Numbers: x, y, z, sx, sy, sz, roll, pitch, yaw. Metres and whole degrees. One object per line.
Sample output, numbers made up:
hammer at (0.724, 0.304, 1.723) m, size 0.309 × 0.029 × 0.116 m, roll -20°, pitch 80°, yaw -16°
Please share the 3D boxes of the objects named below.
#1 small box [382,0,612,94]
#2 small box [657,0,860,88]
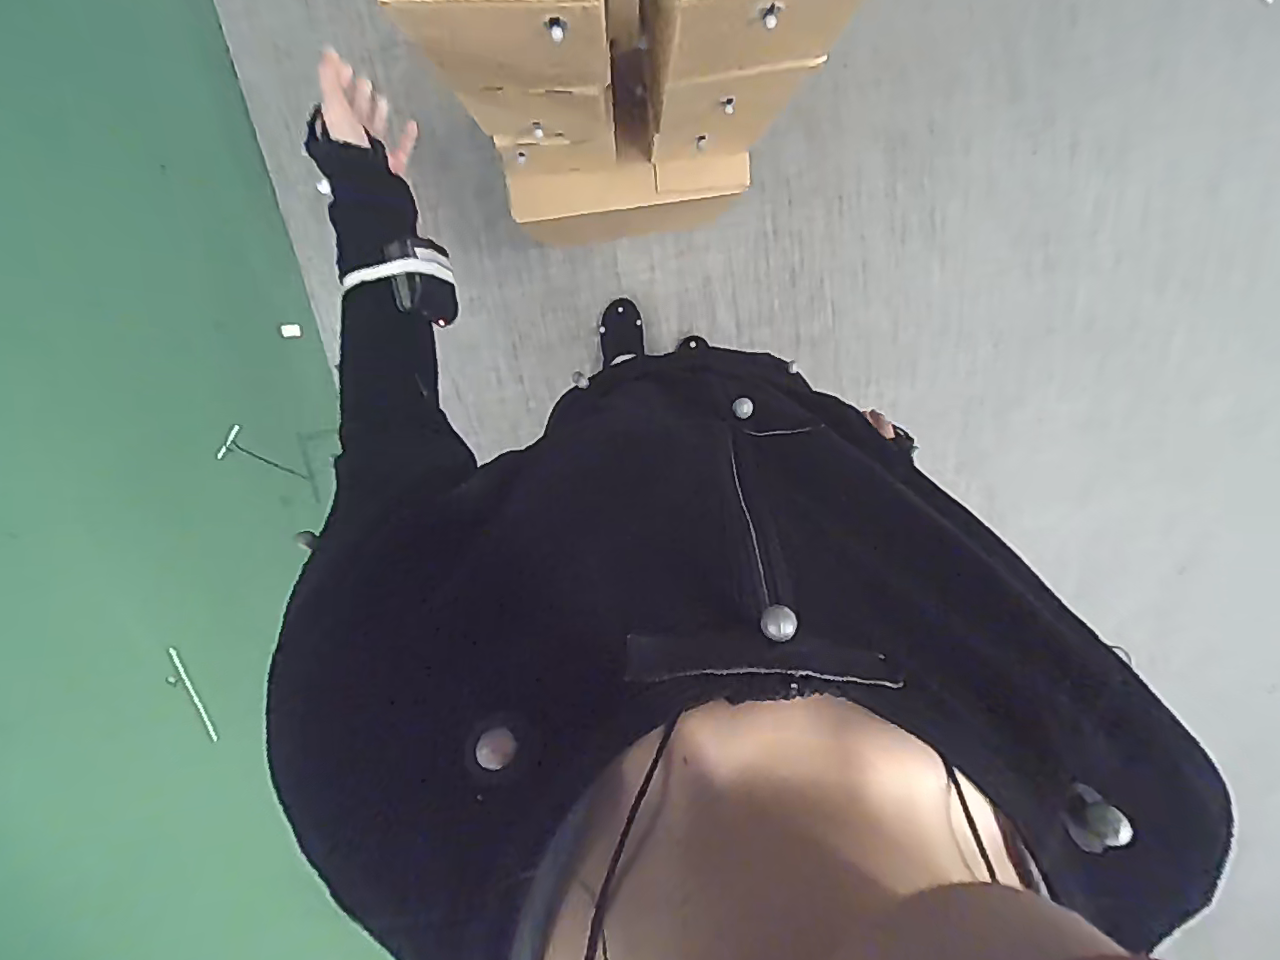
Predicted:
small box at (-0.118, -0.469, 0.481) m, size 0.179 × 0.176 × 0.168 m, roll -2°, pitch 107°, yaw -1°
small box at (0.101, -0.480, 0.477) m, size 0.179 × 0.176 × 0.168 m, roll -8°, pitch 108°, yaw 2°
